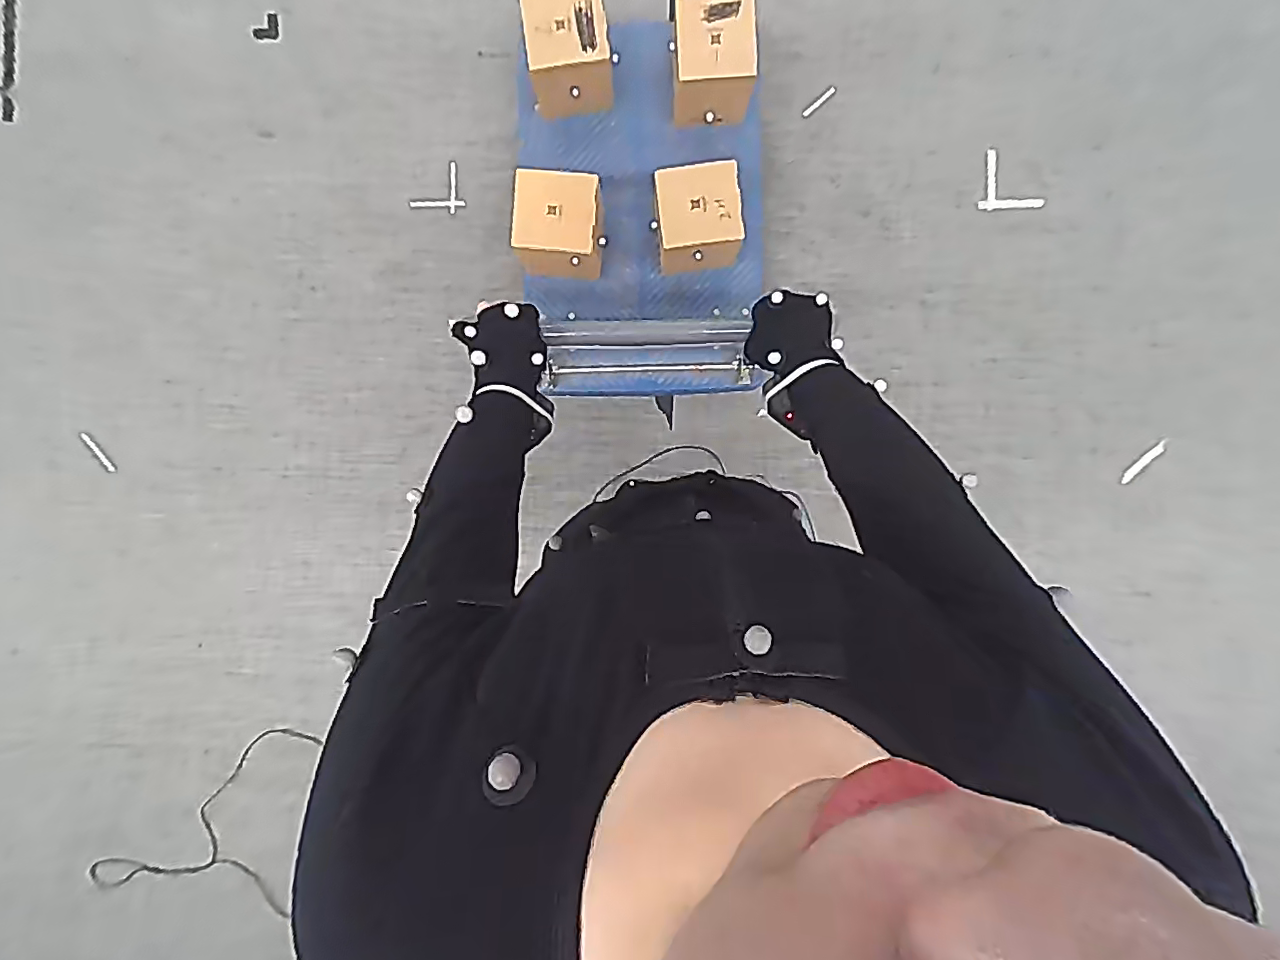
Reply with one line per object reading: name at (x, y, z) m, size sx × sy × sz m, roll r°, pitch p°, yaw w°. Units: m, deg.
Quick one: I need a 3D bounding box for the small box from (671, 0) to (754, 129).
small box at (0.156, -0.925, 1.209) m, size 0.168 × 0.176 × 0.179 m, roll -3°, pitch 93°, yaw 1°

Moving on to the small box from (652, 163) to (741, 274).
small box at (0.124, -0.581, 1.223) m, size 0.179 × 0.176 × 0.168 m, roll -7°, pitch 92°, yaw 2°

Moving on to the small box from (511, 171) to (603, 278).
small box at (-0.183, -0.573, 1.232) m, size 0.179 × 0.176 × 0.168 m, roll 4°, pitch 92°, yaw 0°
